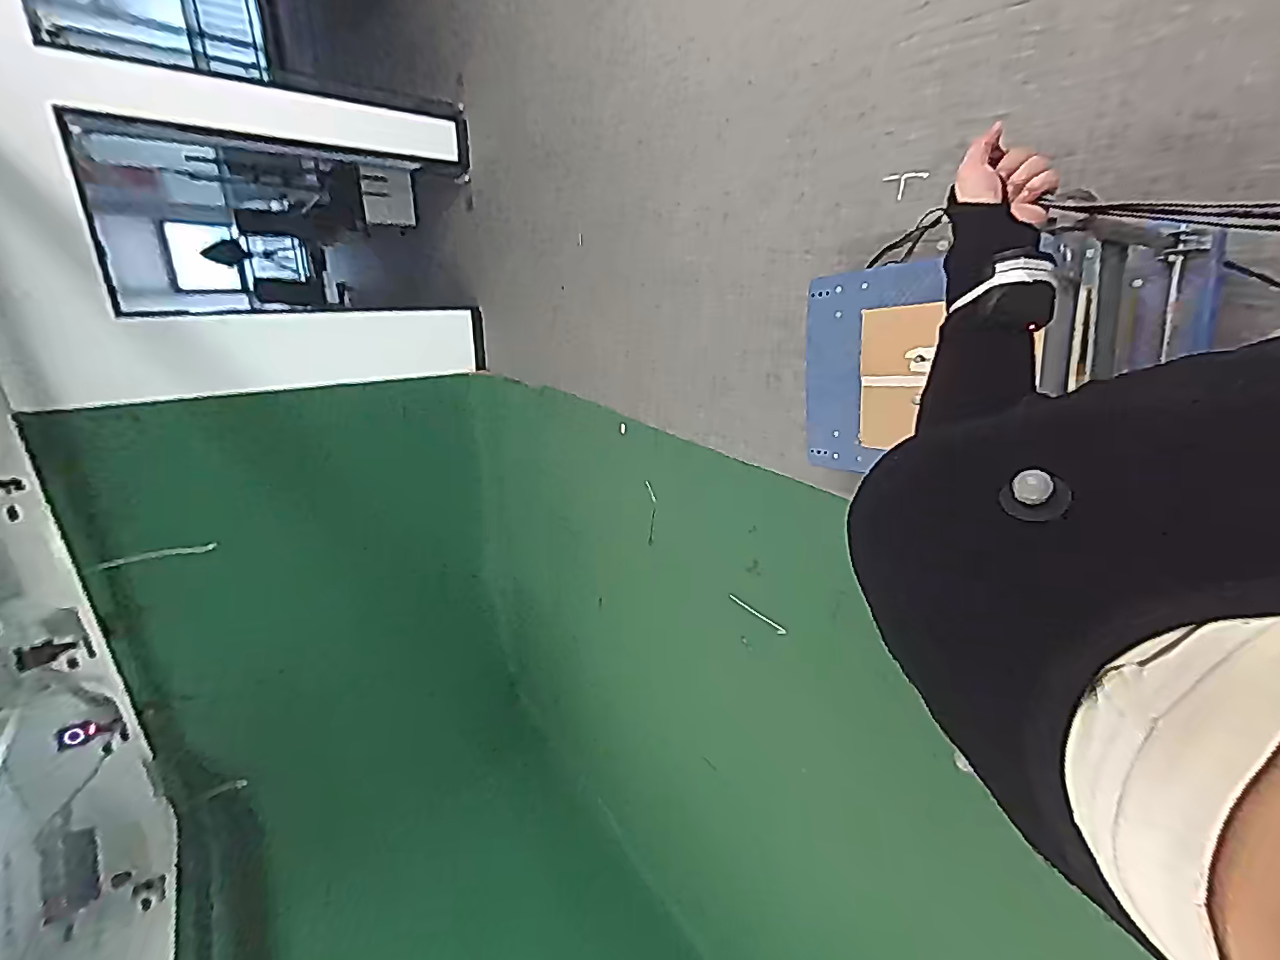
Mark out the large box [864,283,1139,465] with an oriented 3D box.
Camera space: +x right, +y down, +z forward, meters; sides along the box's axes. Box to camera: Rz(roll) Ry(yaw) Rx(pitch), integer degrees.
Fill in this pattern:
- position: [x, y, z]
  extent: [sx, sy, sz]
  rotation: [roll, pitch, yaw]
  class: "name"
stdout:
- position: [0.750, -0.229, 1.154]
  extent: [0.408, 0.320, 0.320]
  rotation: [14, 112, 53]
  class: "large box"
